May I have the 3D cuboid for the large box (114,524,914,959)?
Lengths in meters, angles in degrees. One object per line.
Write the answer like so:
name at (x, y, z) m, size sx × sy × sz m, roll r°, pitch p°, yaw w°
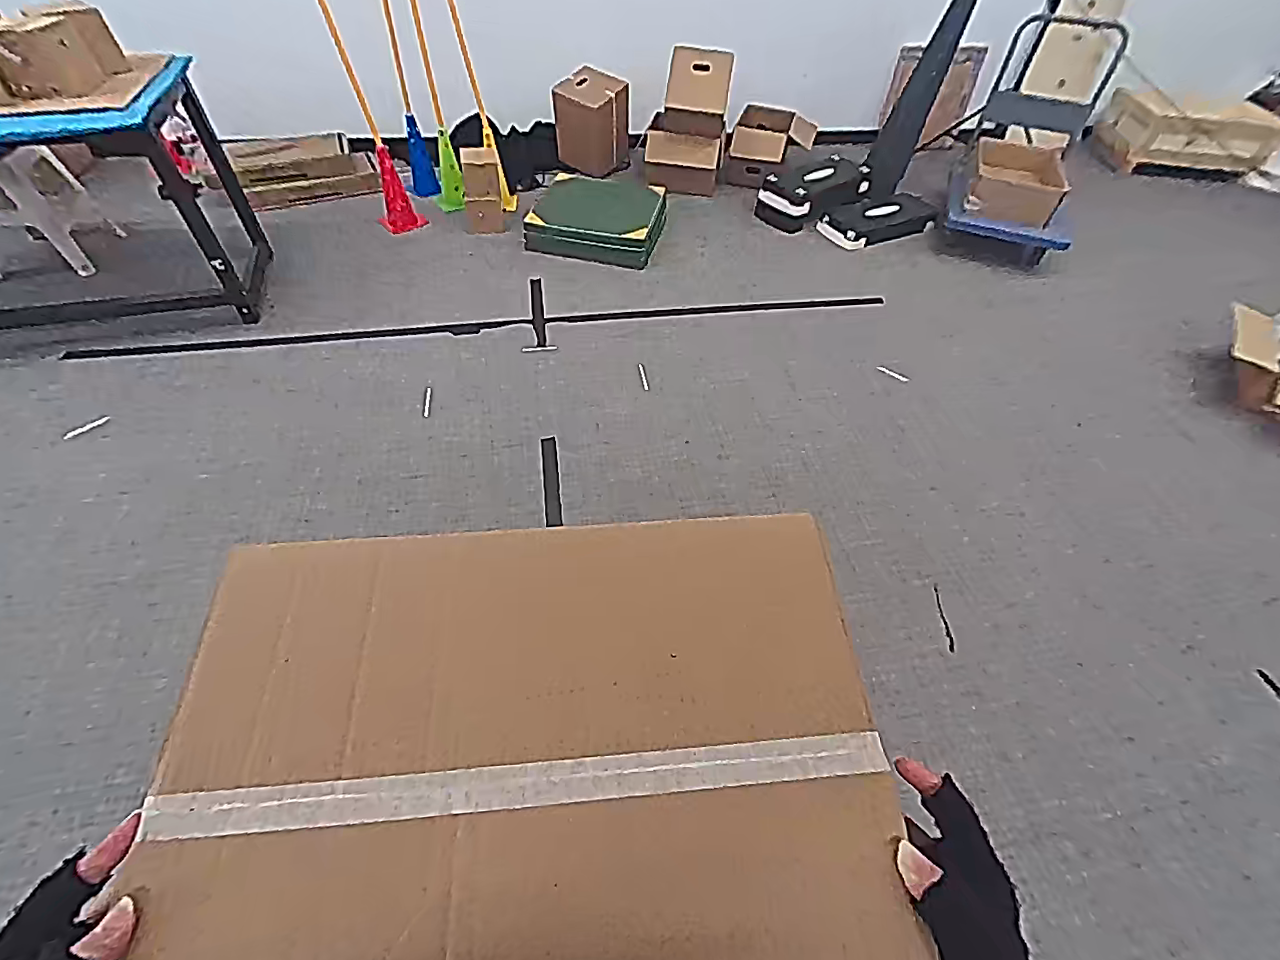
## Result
large box at (-0.067, 0.251, 0.438) m, size 0.408 × 0.320 × 0.320 m, roll -3°, pitch 58°, yaw -3°
